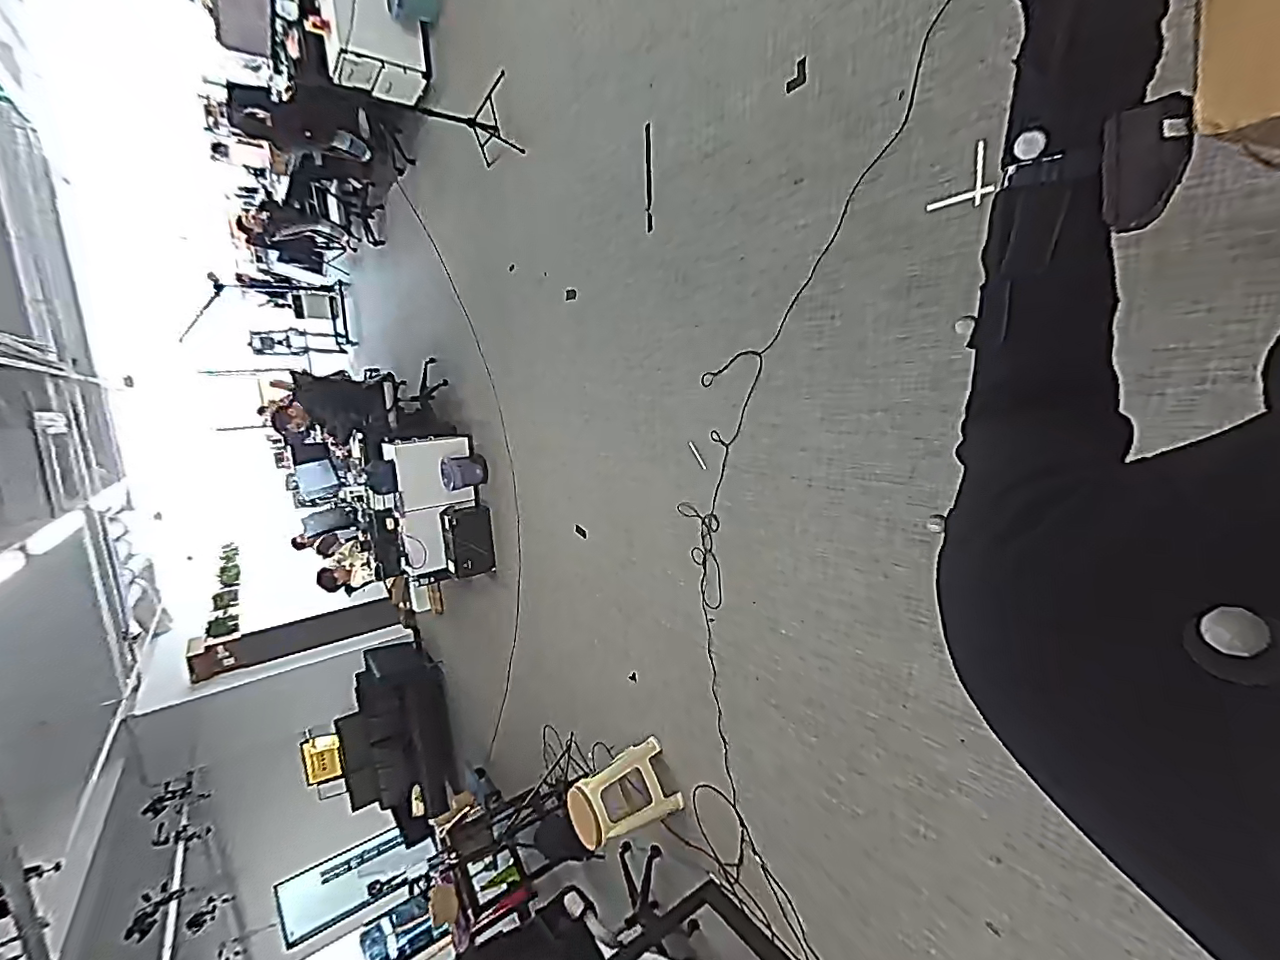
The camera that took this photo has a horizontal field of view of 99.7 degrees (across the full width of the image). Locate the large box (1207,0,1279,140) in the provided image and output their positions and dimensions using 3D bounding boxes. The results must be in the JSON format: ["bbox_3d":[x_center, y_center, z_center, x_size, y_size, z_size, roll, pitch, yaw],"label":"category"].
[{"bbox_3d":[0.502,-0.366,0.177,0.408,0.320,0.320,7,114,54],"label":"large box"}]
